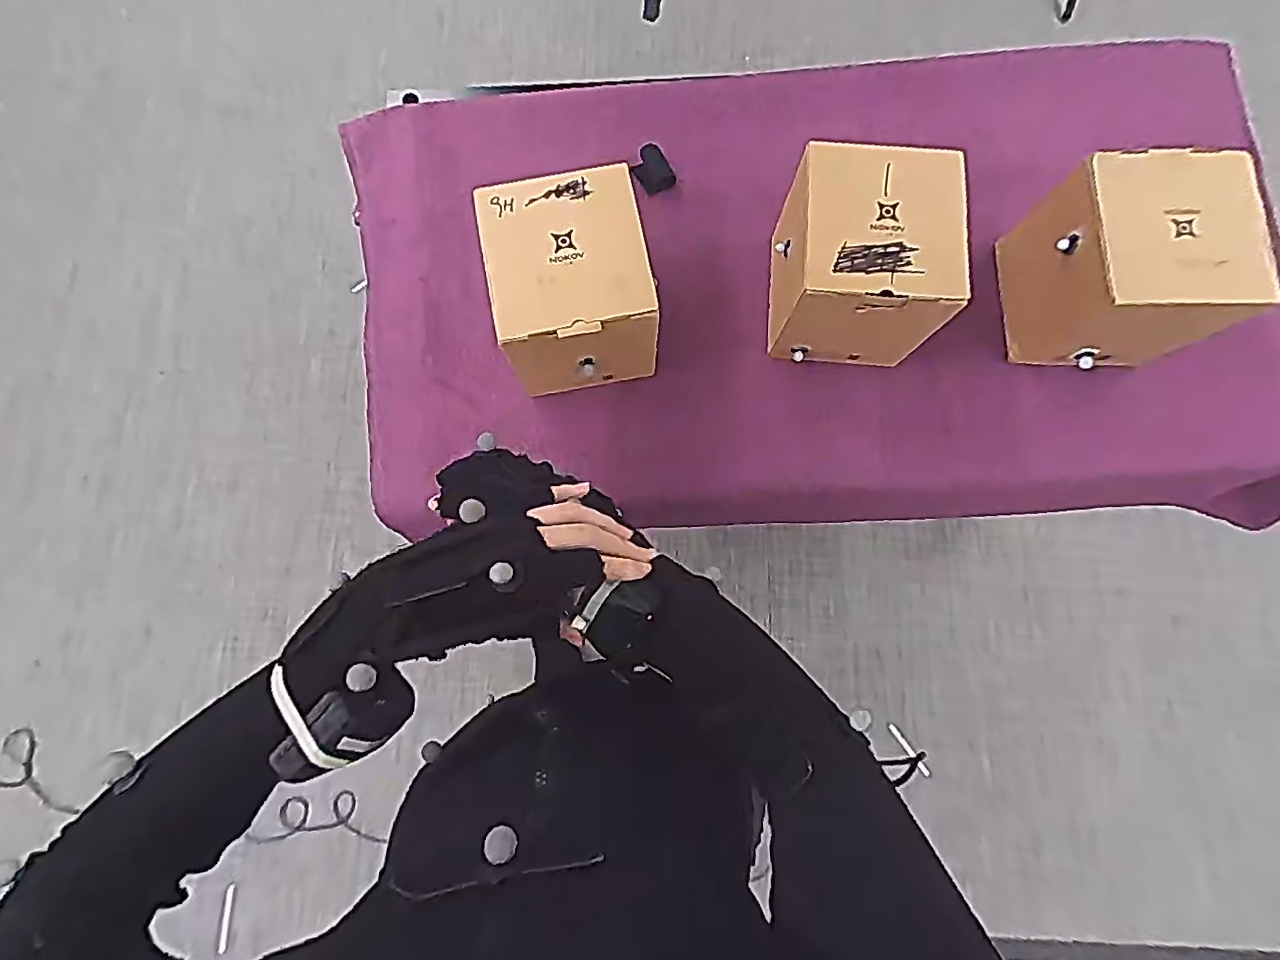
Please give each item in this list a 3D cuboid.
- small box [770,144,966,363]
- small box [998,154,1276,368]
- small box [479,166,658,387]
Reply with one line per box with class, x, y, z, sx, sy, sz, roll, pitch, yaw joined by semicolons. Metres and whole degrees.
small box;0.255;-0.253;0.638;0.168;0.176;0.179;5;79;1
small box;0.557;-0.246;0.637;0.168;0.176;0.179;0;80;2
small box;-0.074;-0.220;0.633;0.168;0.176;0.179;-11;80;-2
